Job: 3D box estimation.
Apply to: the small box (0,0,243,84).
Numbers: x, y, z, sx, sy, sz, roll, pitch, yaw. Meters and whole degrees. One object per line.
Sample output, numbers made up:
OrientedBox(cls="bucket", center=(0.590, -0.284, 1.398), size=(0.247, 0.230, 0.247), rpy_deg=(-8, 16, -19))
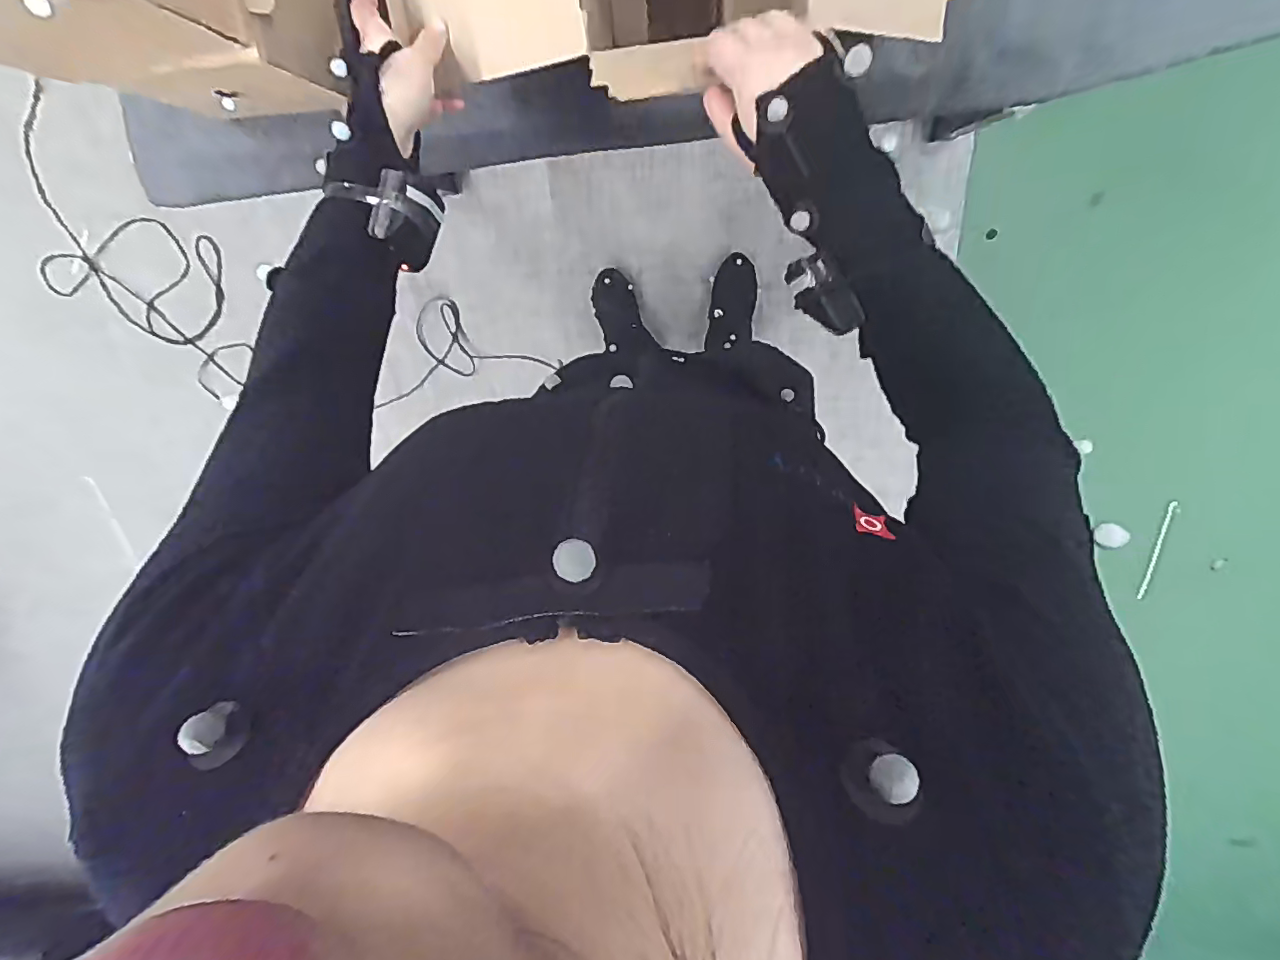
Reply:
OrientedBox(cls="small box", center=(-0.423, -0.389, 0.354), size=(0.179, 0.176, 0.168), rpy_deg=(-6, 113, 7))

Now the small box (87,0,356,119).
OrientedBox(cls="small box", center=(-0.395, -0.452, 0.502), size=(0.179, 0.176, 0.168), rpy_deg=(-1, 114, 6))
